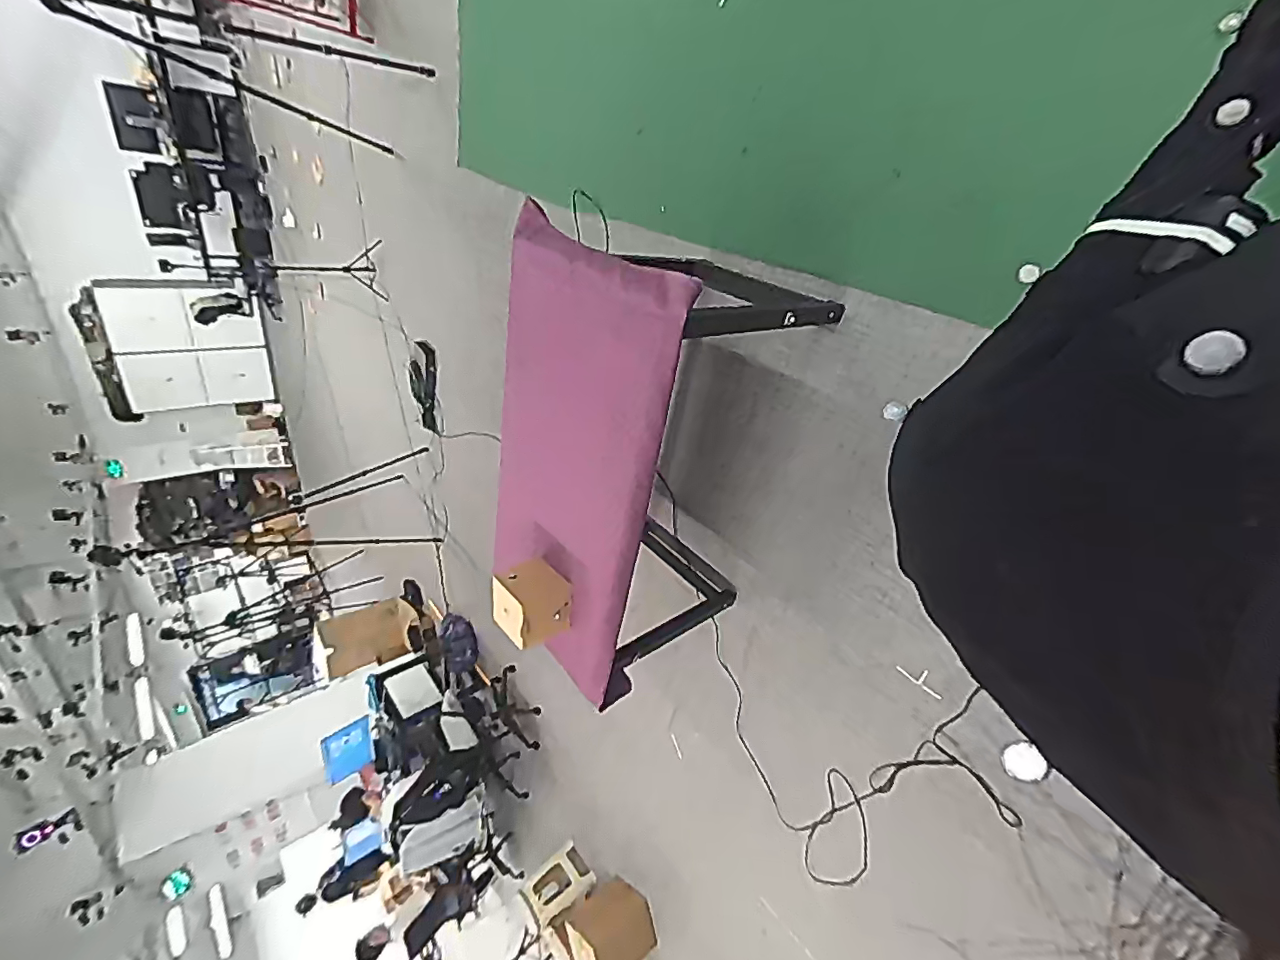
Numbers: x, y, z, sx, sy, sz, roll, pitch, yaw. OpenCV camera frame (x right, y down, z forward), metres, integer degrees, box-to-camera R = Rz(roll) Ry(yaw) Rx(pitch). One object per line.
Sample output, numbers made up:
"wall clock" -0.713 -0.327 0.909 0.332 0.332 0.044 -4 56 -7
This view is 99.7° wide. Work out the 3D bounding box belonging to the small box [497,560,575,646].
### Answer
"small box" -0.315 0.359 1.630 0.179 0.176 0.168 31 126 41
